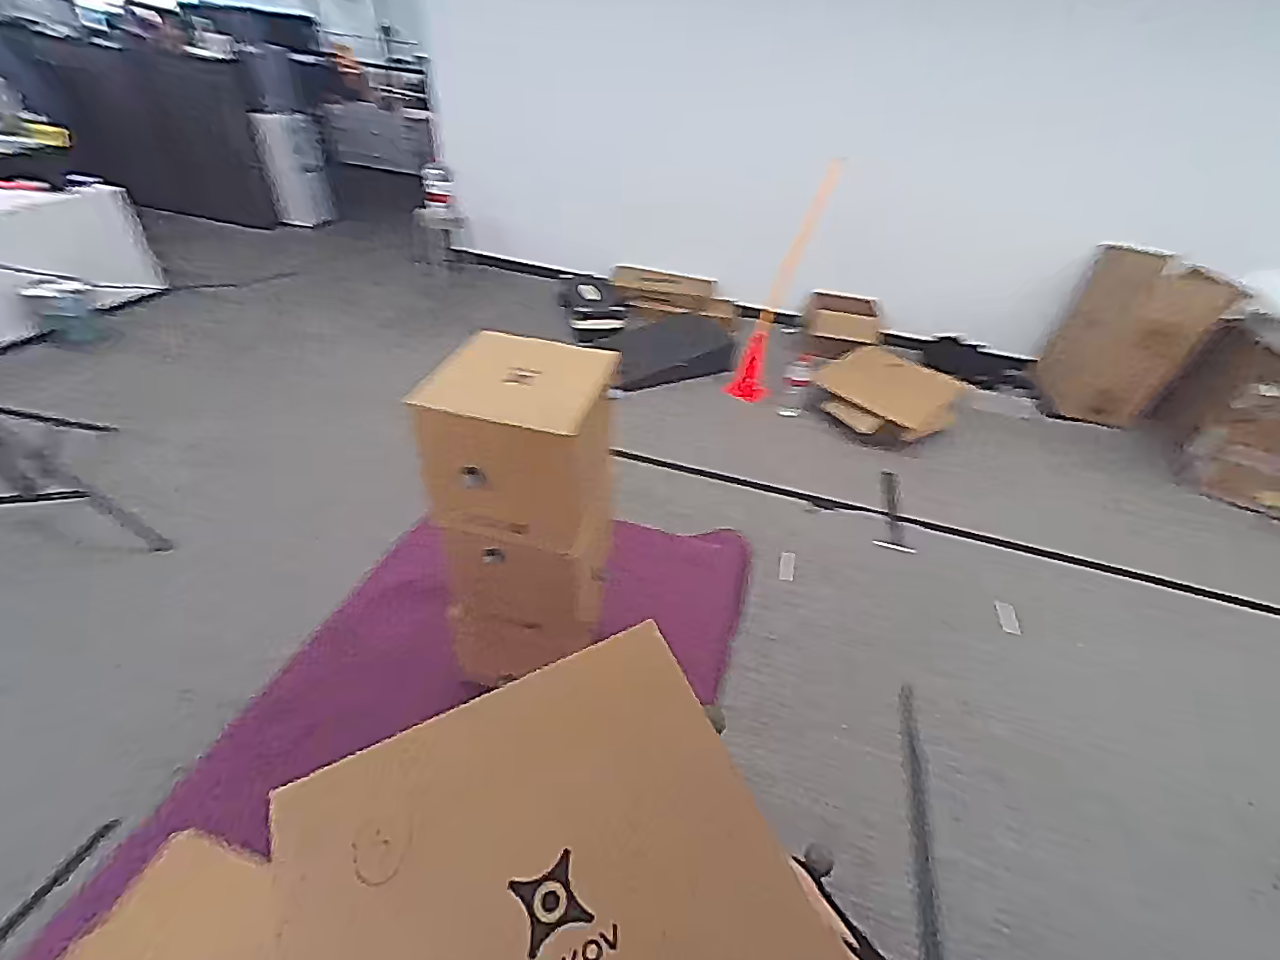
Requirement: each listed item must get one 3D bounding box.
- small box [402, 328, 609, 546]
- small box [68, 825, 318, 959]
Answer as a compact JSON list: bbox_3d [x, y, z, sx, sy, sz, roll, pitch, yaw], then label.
[{"bbox_3d":[-0.135,-0.049,0.615,0.168,0.176,0.179,11,40,6],"label":"small box"},{"bbox_3d":[-0.264,0.368,0.352,0.179,0.176,0.168,14,41,8],"label":"small box"}]
